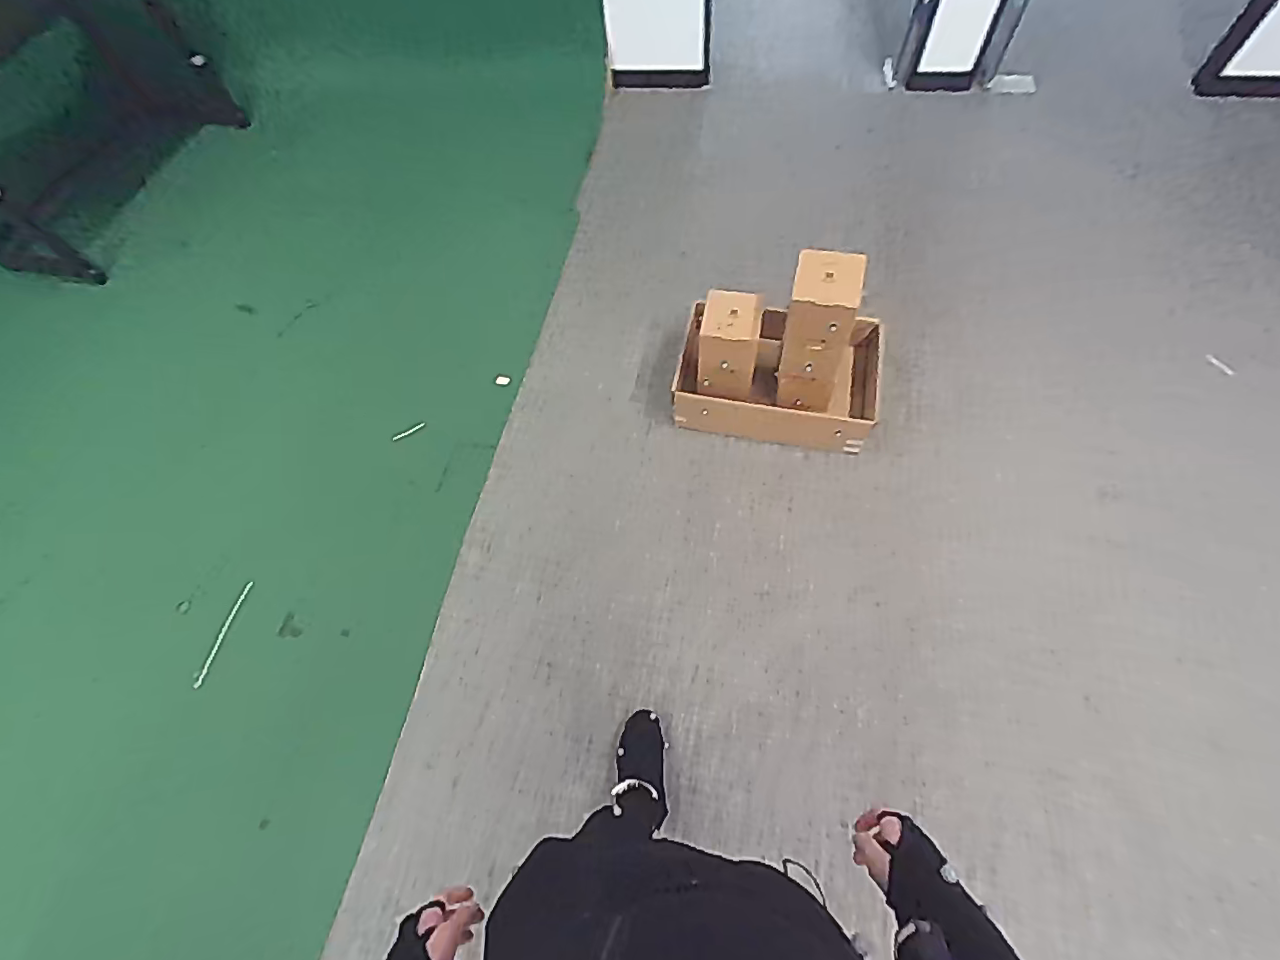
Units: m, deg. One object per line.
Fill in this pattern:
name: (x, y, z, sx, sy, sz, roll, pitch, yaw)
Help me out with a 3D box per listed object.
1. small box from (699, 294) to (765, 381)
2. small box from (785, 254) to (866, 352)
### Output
small box: (0.269, -0.421, 1.607, 0.168, 0.176, 0.179, 9, 65, 9)
small box: (0.483, -0.463, 1.430, 0.168, 0.176, 0.179, 12, 66, 13)
